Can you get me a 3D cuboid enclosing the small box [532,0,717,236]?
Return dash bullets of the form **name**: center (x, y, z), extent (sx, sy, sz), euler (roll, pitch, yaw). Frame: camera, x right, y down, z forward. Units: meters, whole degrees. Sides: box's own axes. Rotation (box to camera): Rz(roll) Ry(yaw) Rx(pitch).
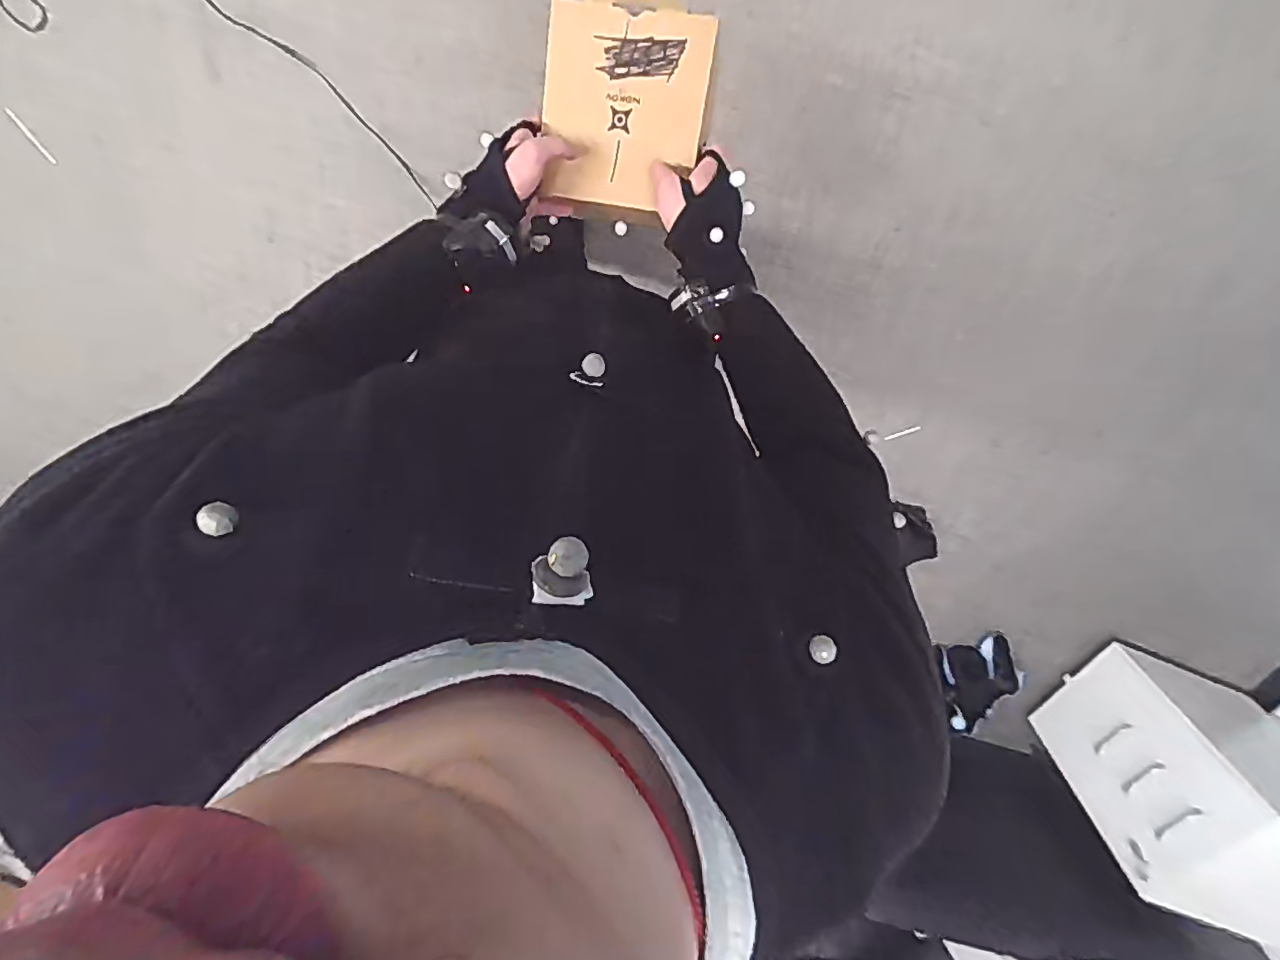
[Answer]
- **small box**: center (-0.011, -0.394, 0.617), extent (0.168, 0.176, 0.179), euler (11, 109, 6)
